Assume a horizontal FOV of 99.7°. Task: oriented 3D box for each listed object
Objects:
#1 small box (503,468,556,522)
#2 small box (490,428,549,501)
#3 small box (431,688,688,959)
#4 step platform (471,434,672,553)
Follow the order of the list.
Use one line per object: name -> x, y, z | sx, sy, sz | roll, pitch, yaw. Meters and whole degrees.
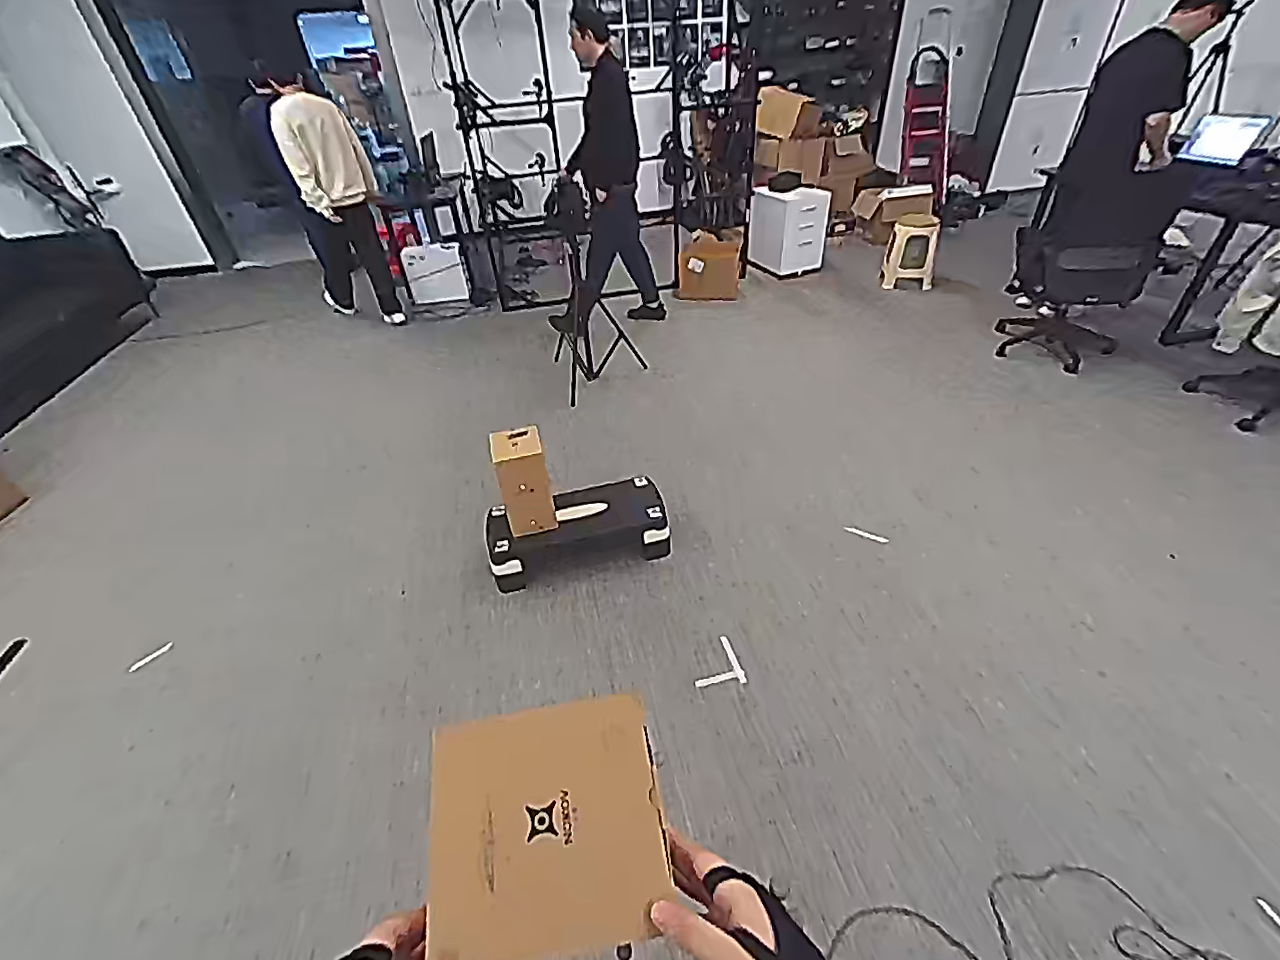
small box -> -0.404, 0.077, 1.965 | 0.168, 0.176, 0.179 | -12, 39, -9
small box -> -0.416, -0.055, 1.868 | 0.168, 0.176, 0.179 | -13, 39, -10
small box -> -0.067, 0.301, 0.471 | 0.179, 0.176, 0.168 | -10, 54, -7
step platform -> -0.235, 0.045, 1.932 | 0.684, 0.204, 0.286 | -11, 38, -10
